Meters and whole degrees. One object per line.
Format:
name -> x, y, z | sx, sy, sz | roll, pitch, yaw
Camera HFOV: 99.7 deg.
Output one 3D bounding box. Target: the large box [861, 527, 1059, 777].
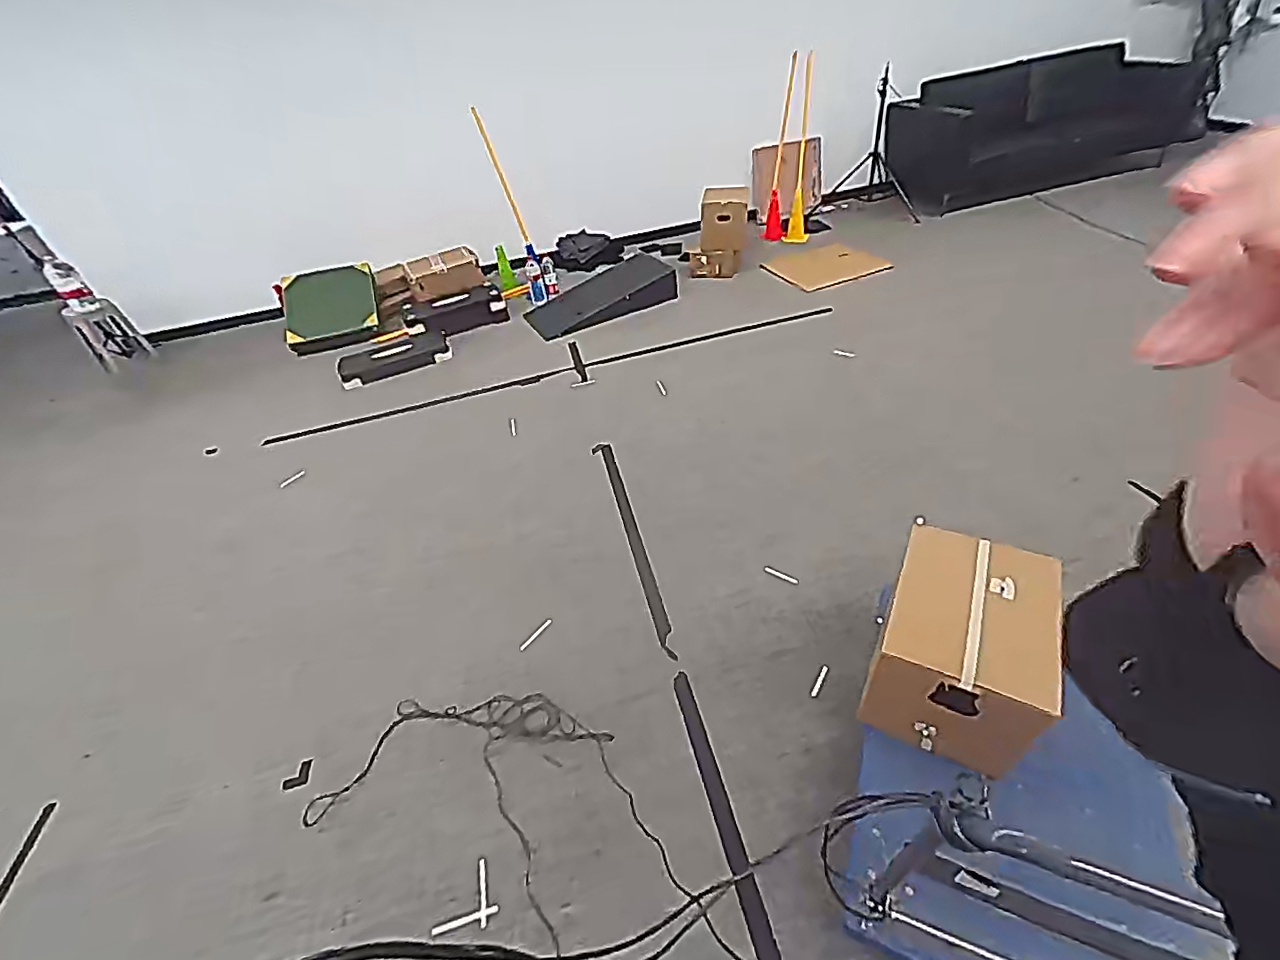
large box -> 0.731, 0.384, 1.261 | 0.320, 0.320, 0.408 | 16, 46, 24
